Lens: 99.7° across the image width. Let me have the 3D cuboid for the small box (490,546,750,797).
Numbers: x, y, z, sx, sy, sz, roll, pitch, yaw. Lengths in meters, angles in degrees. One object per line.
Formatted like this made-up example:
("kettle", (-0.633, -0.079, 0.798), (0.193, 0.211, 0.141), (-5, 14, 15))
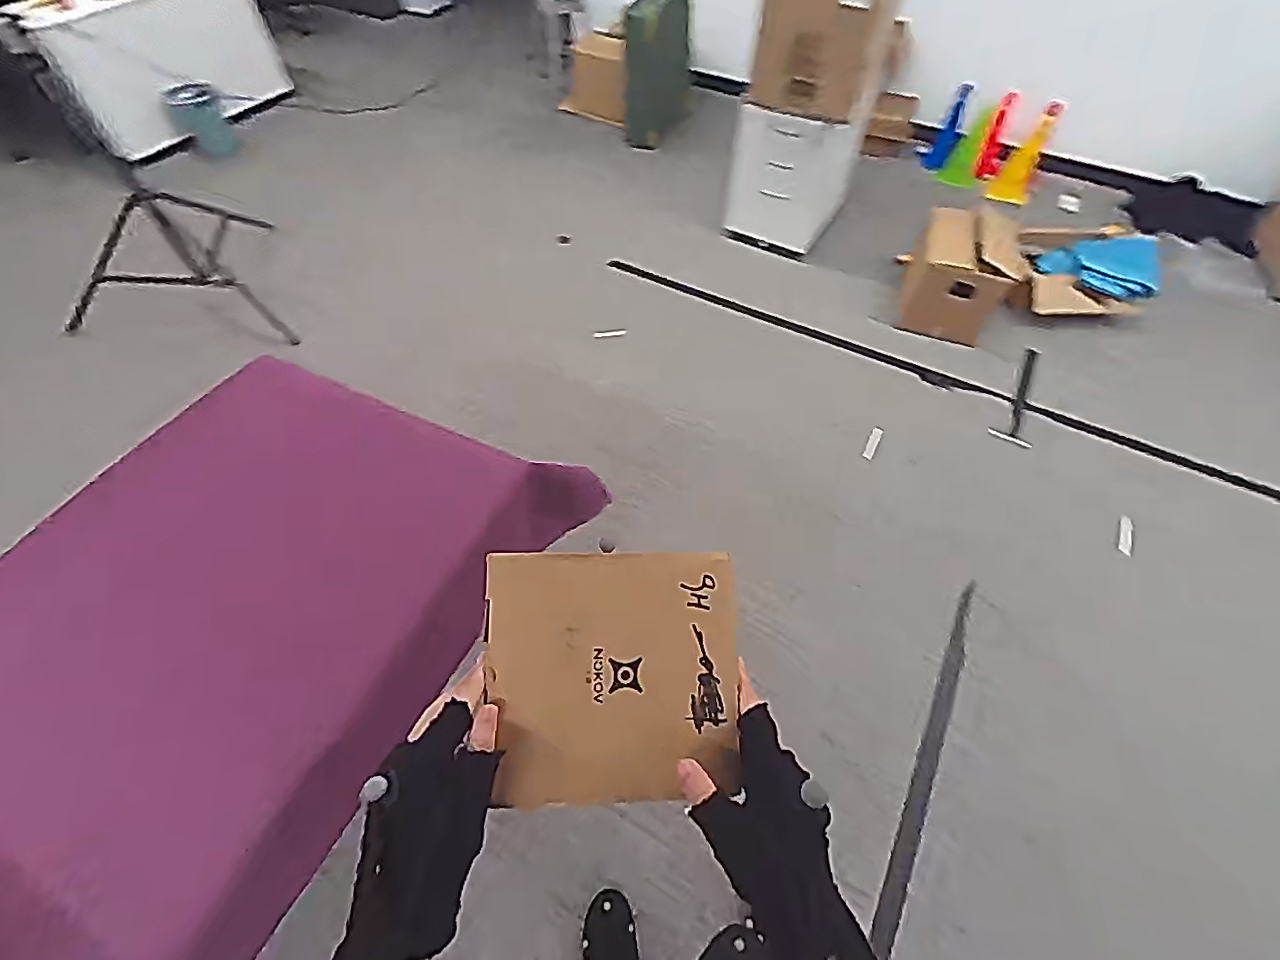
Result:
("small box", (-0.016, 0.143, 0.451), (0.179, 0.176, 0.168), (1, 80, -4))
